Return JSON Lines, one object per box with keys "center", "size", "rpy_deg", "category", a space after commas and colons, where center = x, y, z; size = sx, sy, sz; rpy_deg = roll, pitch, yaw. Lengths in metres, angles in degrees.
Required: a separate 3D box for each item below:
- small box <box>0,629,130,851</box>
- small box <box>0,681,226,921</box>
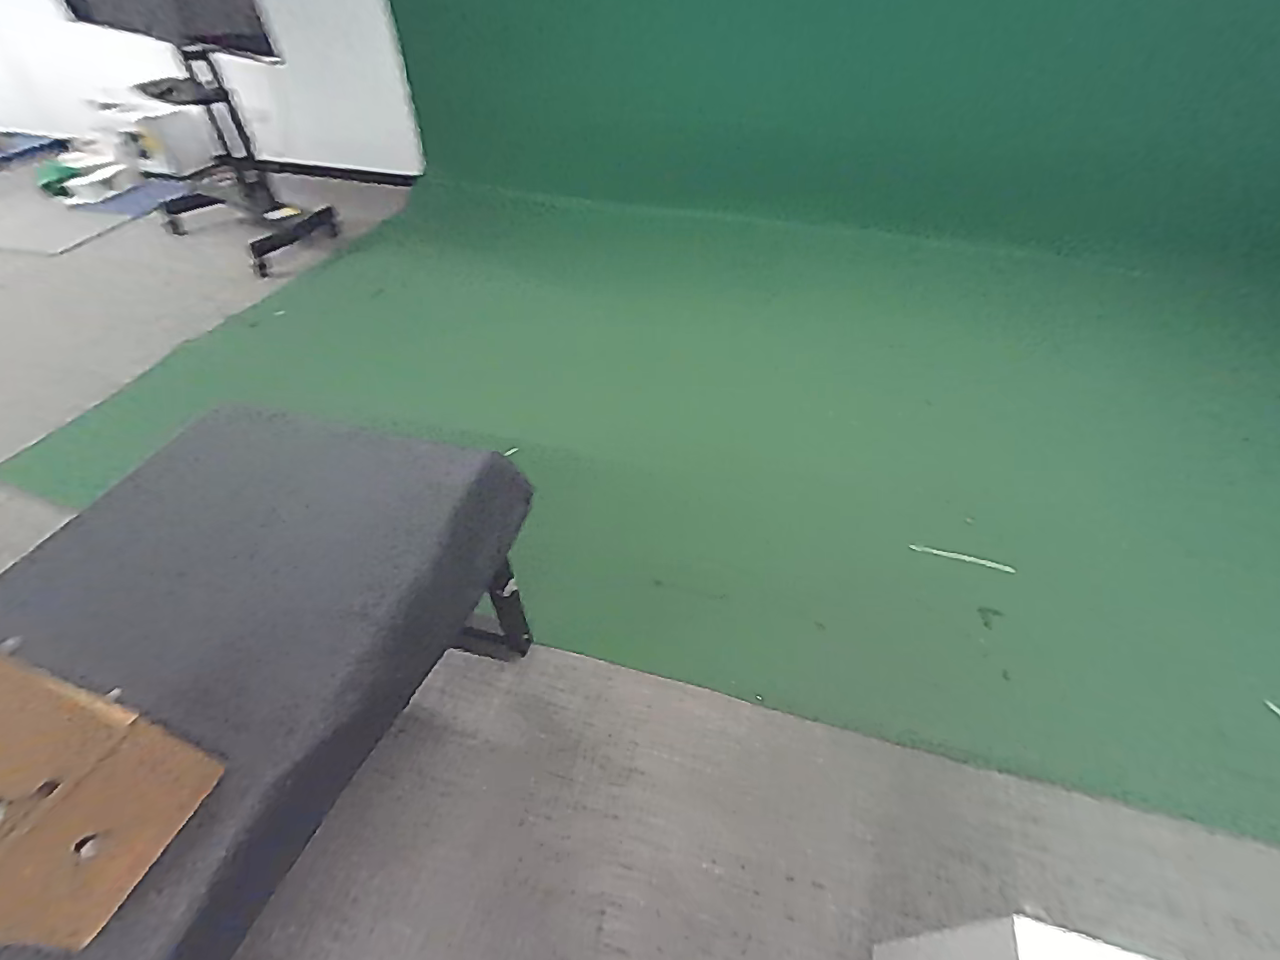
{"center": [-0.602, 0.207, 0.442], "size": [0.179, 0.176, 0.168], "rpy_deg": [13, 48, 14], "category": "small box"}
{"center": [-0.596, 0.321, 0.560], "size": [0.168, 0.176, 0.179], "rpy_deg": [14, 49, 13], "category": "small box"}
